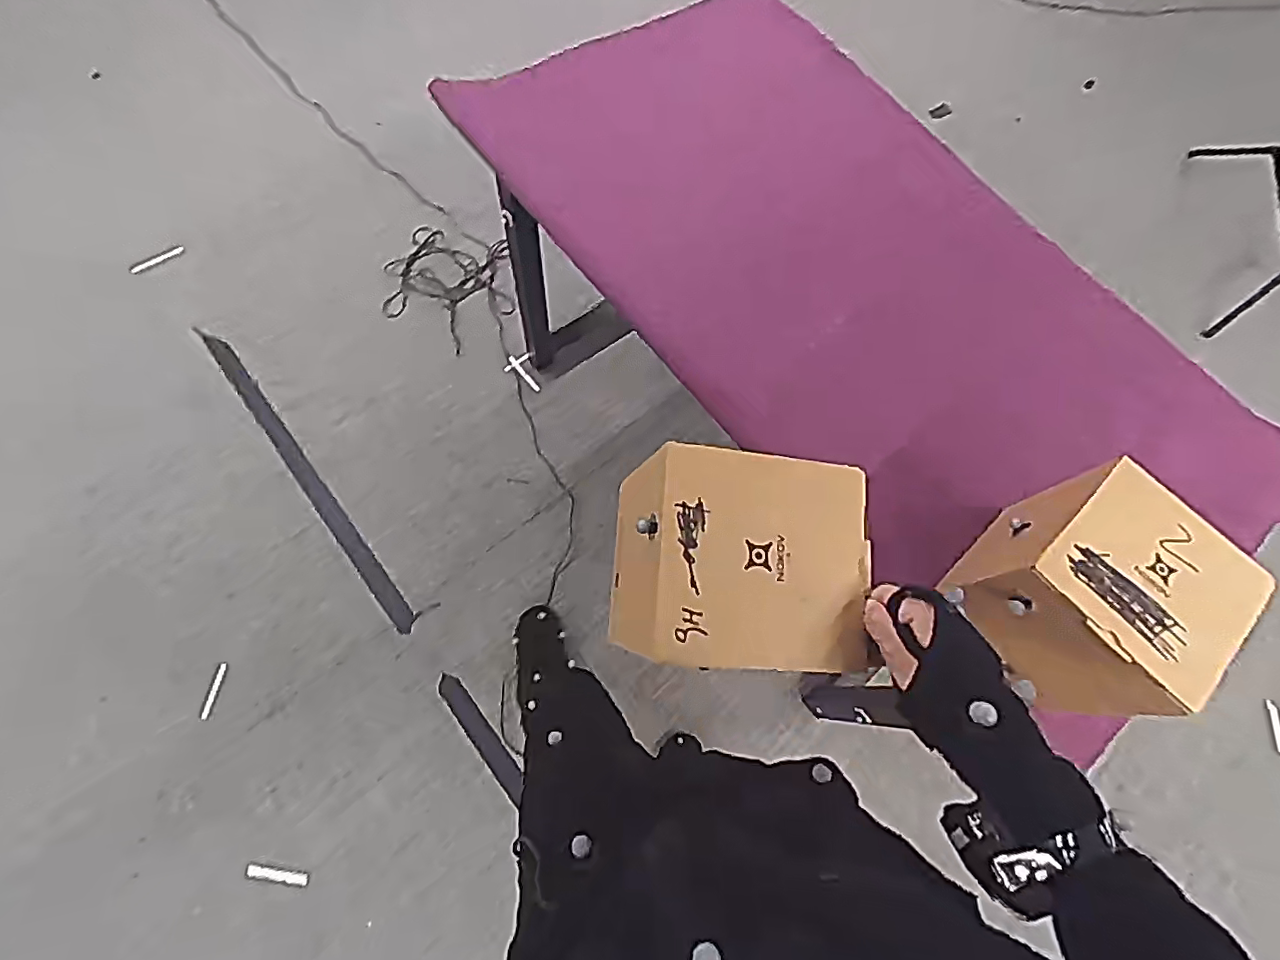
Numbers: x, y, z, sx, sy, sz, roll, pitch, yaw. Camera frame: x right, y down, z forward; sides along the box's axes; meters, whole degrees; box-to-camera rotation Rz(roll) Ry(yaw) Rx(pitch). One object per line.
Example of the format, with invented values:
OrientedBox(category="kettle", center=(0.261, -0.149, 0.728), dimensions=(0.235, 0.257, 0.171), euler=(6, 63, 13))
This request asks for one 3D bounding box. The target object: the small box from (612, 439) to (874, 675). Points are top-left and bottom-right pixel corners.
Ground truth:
OrientedBox(category="small box", center=(0.083, 0.073, 0.488), dimensions=(0.179, 0.176, 0.168), euler=(8, 77, -14))
